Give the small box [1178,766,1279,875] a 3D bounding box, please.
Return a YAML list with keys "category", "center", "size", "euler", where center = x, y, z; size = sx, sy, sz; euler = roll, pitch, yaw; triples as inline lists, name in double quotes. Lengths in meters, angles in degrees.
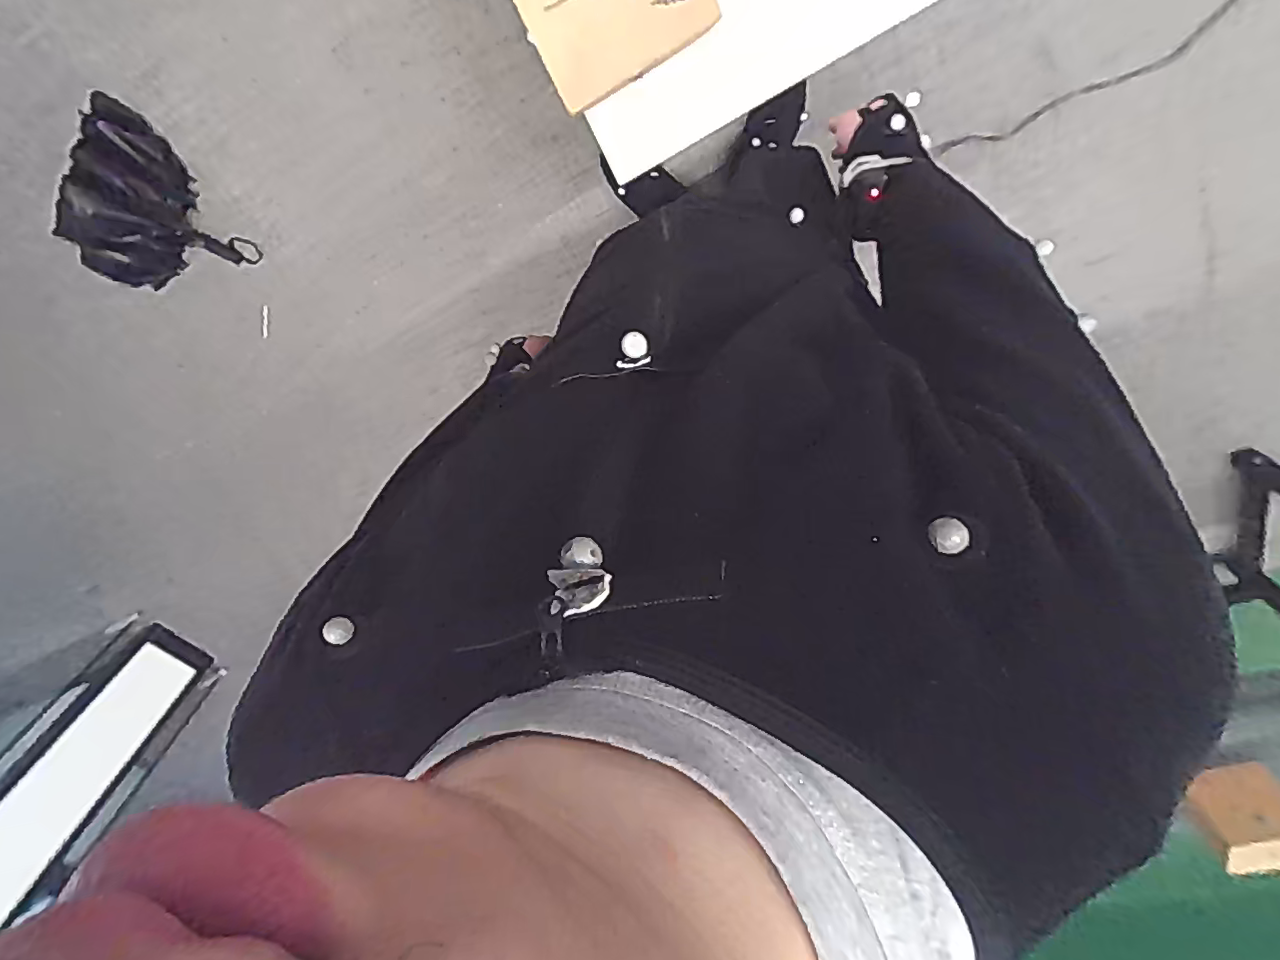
- category: "small box"
  center: [1.474, 0.822, 1.312]
  size: [0.179, 0.176, 0.168]
  euler: [-23, 120, 19]
